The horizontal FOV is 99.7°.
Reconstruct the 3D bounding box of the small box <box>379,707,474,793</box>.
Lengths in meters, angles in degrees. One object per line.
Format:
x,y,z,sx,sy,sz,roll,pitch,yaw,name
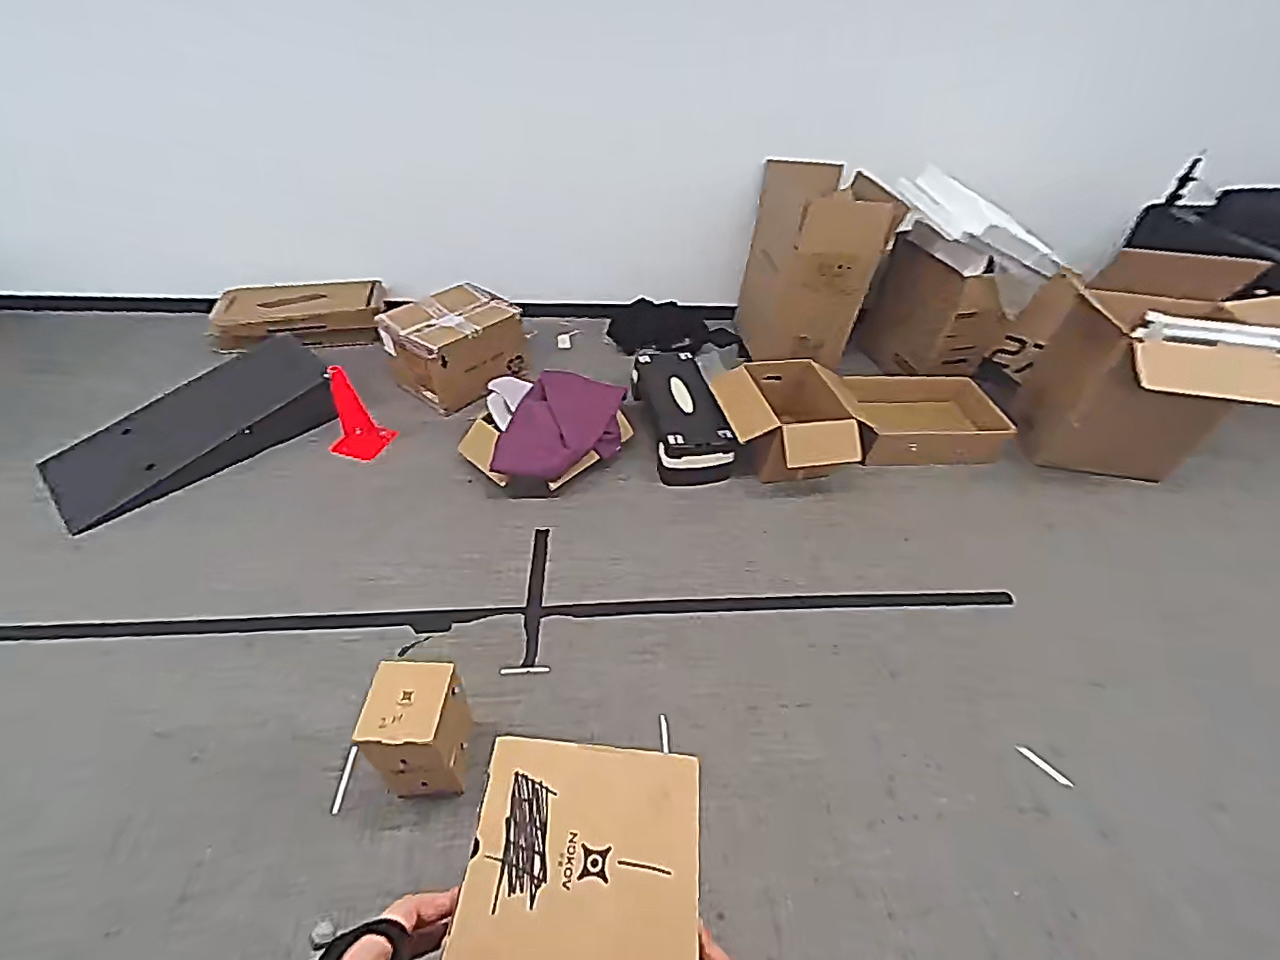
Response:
-0.511,0.649,1.323,0.168,0.176,0.179,-1,45,-5,small box

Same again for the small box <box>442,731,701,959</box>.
-0.045,0.338,0.463,0.179,0.176,0.168,5,44,0,small box

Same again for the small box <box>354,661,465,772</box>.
-0.501,0.528,1.209,0.168,0.176,0.179,2,45,-1,small box
